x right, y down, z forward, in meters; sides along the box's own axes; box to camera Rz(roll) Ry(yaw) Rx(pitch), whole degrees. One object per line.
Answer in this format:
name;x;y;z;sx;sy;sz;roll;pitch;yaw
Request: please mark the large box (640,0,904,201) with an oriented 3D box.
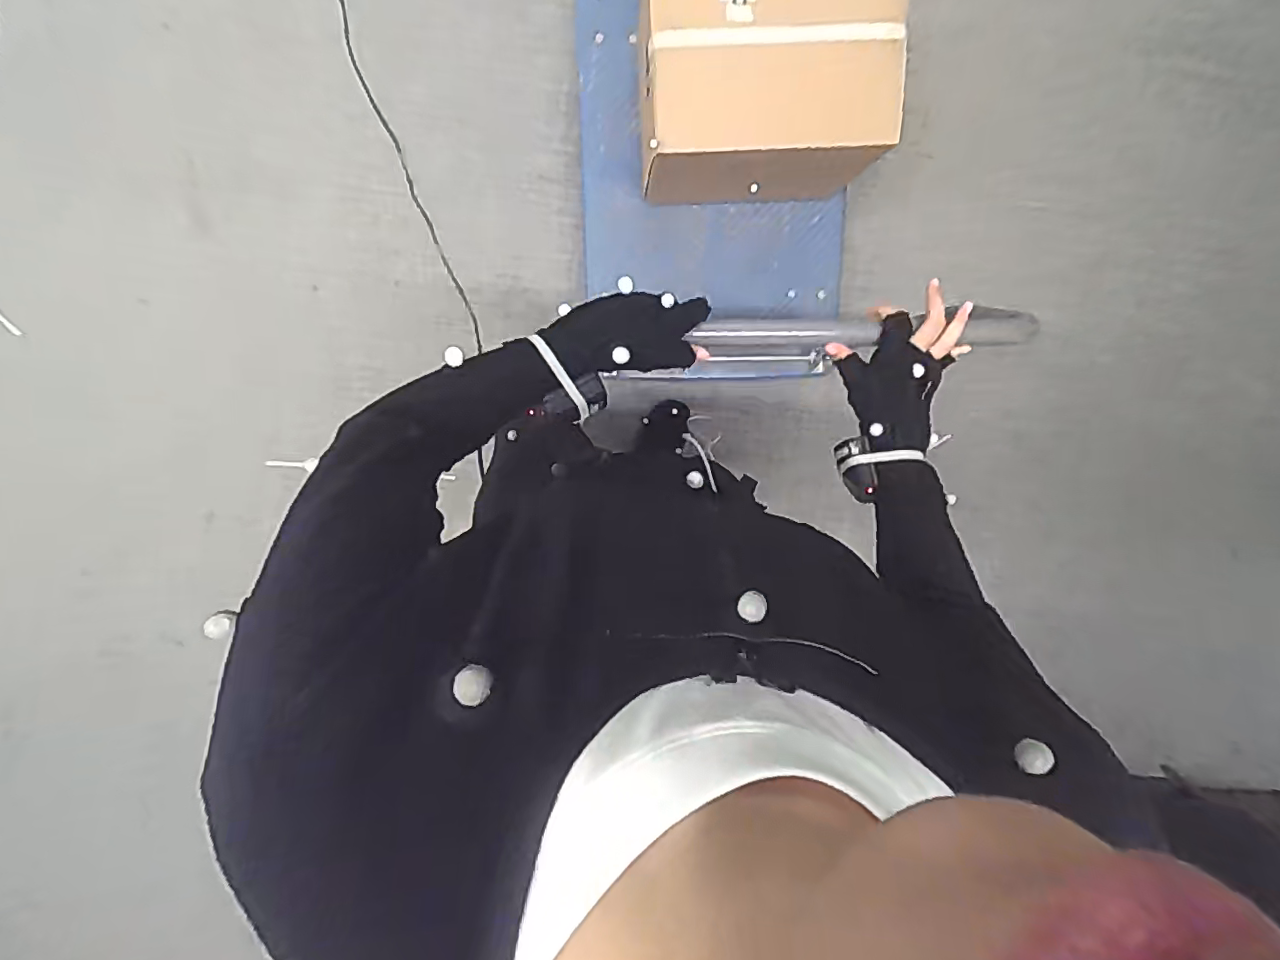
large box;0.215;-0.732;0.996;0.408;0.320;0.320;-4;102;-1
